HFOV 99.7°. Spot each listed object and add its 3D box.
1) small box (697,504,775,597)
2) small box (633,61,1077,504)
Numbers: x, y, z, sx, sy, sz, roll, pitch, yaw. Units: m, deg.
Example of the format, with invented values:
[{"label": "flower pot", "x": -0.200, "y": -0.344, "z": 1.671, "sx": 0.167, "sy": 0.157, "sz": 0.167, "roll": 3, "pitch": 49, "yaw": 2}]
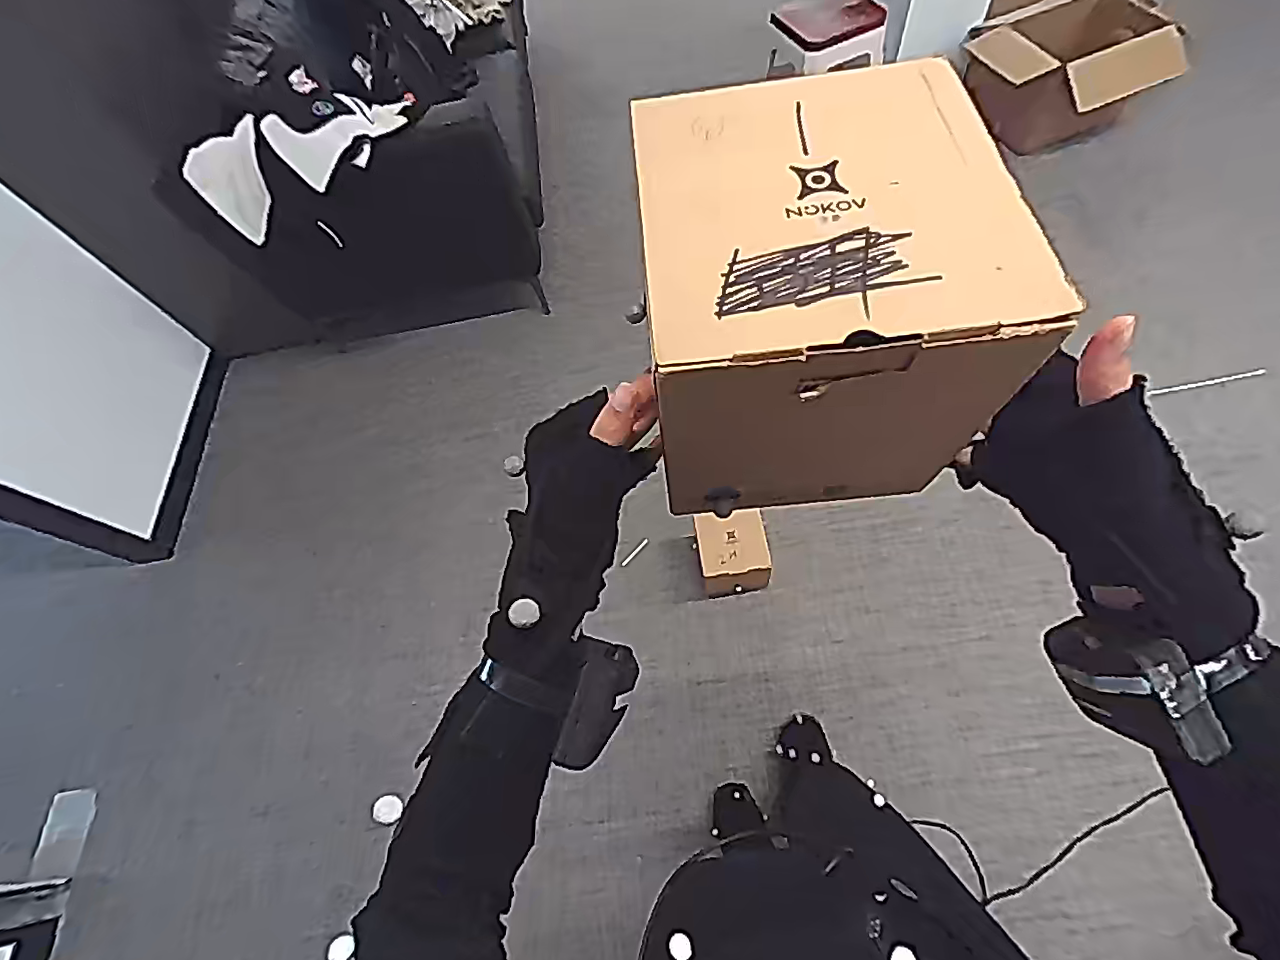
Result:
[{"label": "small box", "x": 0.242, "y": 0.184, "z": 1.385, "sx": 0.168, "sy": 0.176, "sz": 0.179, "roll": -10, "pitch": 61, "yaw": 5}, {"label": "small box", "x": 0.090, "y": -0.094, "z": 0.318, "sx": 0.168, "sy": 0.176, "sz": 0.179, "roll": -6, "pitch": 64, "yaw": 4}]
